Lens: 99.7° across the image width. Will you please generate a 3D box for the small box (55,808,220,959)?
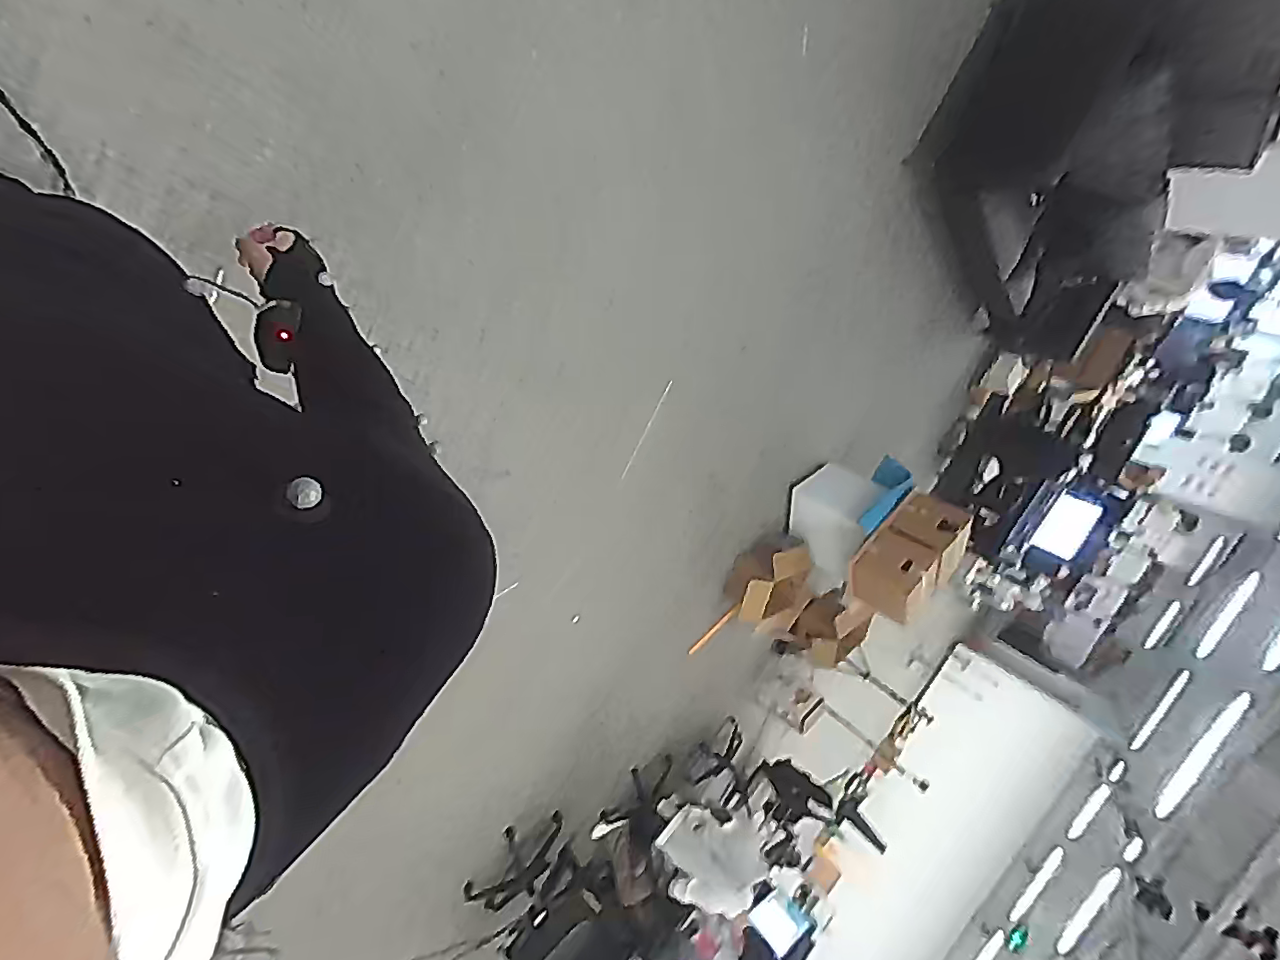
[{"bbox_3d":[-0.842,0.686,0.907,0.168,0.176,0.179,19,105,-48],"label":"small box"}]
